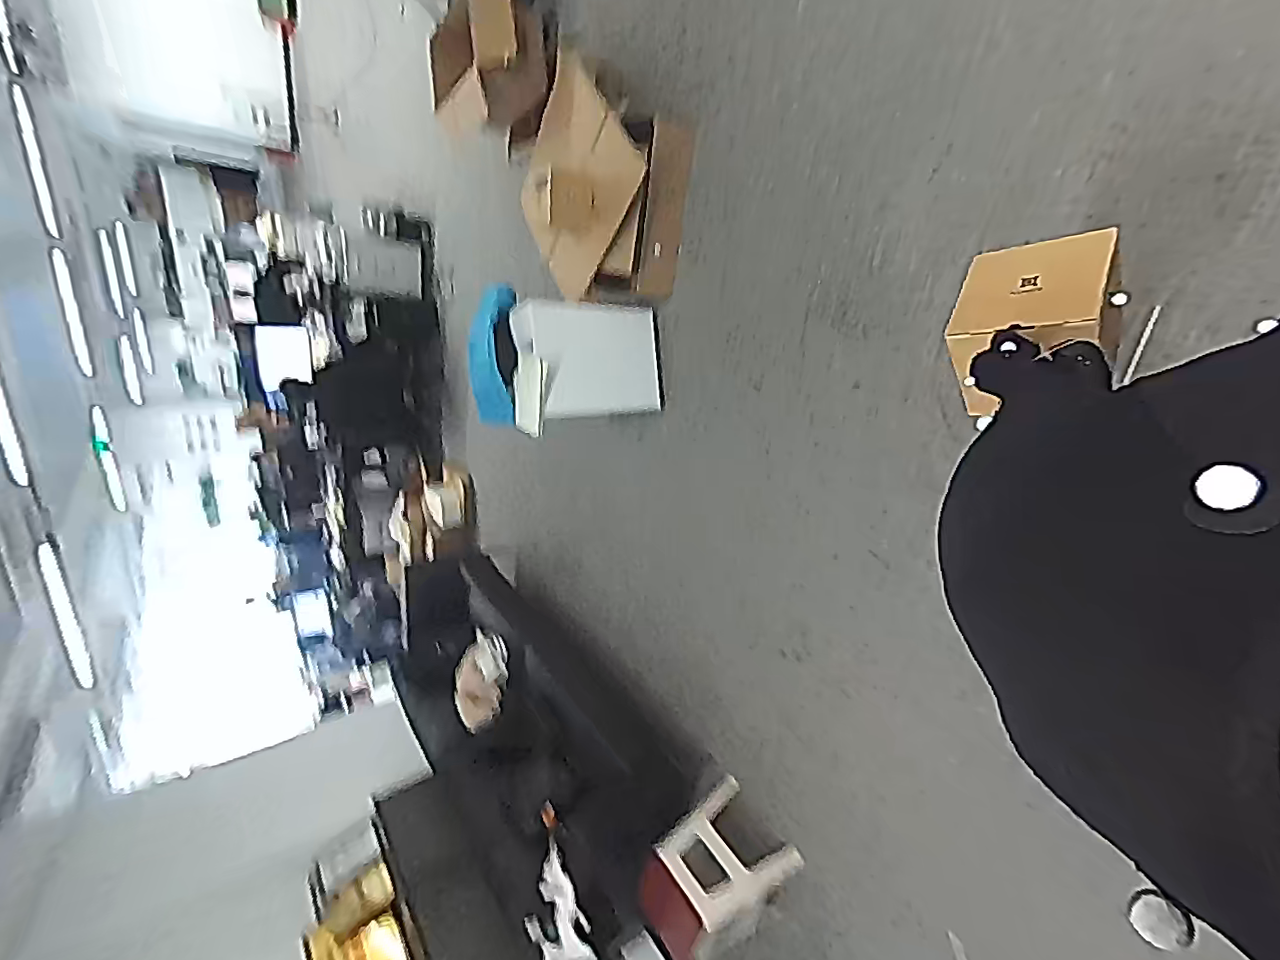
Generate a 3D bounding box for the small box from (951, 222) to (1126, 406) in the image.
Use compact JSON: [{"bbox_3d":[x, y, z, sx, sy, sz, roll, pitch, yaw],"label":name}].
[{"bbox_3d":[0.574,-0.226,0.774,0.168,0.176,0.179,7,59,47],"label":"small box"}]
